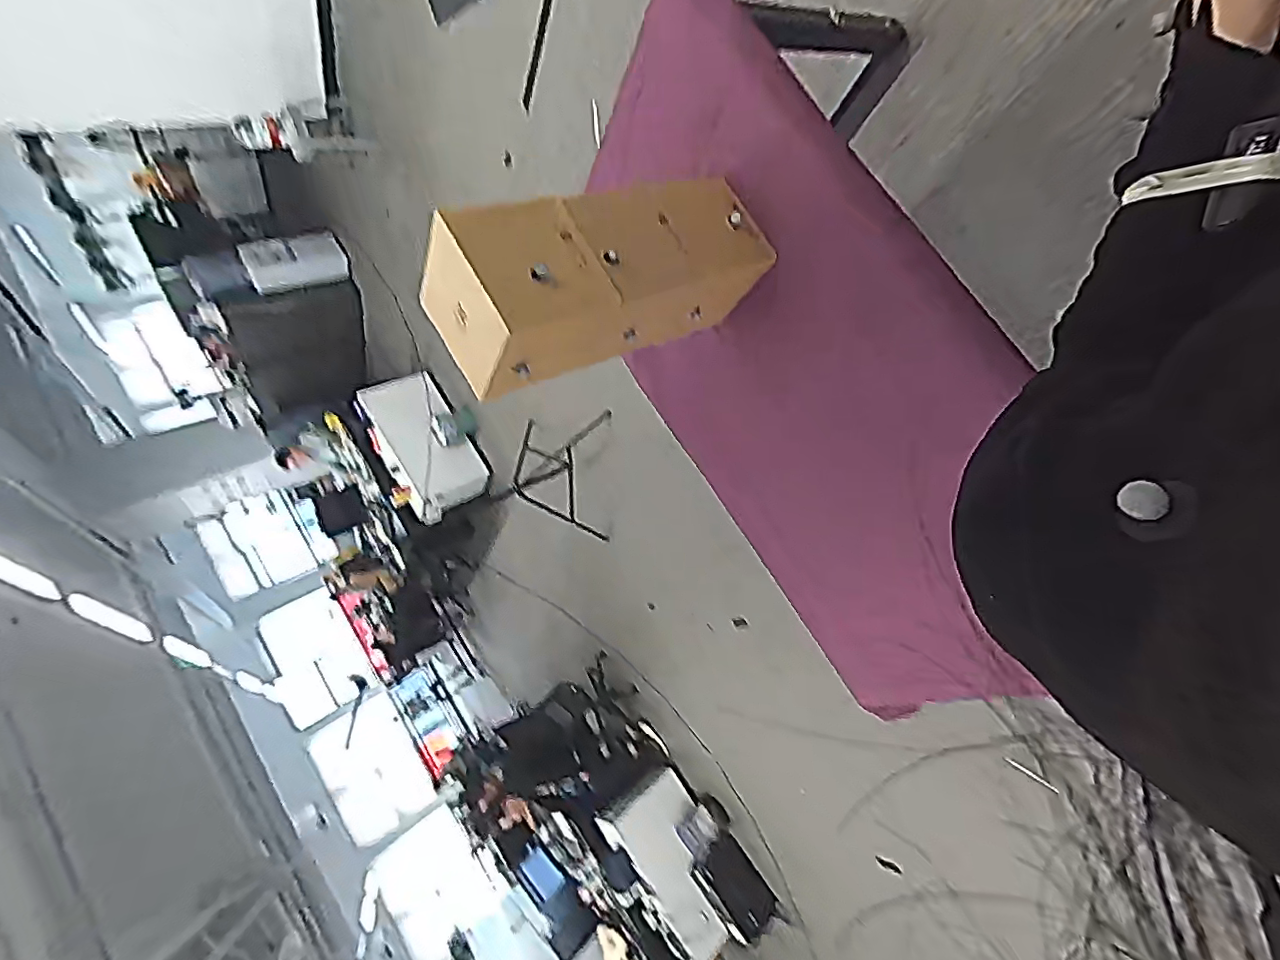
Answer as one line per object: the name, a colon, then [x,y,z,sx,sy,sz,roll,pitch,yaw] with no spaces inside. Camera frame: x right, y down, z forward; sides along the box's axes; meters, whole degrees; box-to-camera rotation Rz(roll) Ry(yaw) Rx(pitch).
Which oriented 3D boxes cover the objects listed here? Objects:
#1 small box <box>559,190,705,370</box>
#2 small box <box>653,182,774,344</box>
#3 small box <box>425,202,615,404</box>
small box: [-0.036,-0.294,0.800,0.168,0.176,0.179,59,148,4]
small box: [0.085,-0.357,0.892,0.168,0.176,0.179,57,147,6]
small box: [-0.155,-0.231,0.707,0.168,0.176,0.179,58,148,4]
